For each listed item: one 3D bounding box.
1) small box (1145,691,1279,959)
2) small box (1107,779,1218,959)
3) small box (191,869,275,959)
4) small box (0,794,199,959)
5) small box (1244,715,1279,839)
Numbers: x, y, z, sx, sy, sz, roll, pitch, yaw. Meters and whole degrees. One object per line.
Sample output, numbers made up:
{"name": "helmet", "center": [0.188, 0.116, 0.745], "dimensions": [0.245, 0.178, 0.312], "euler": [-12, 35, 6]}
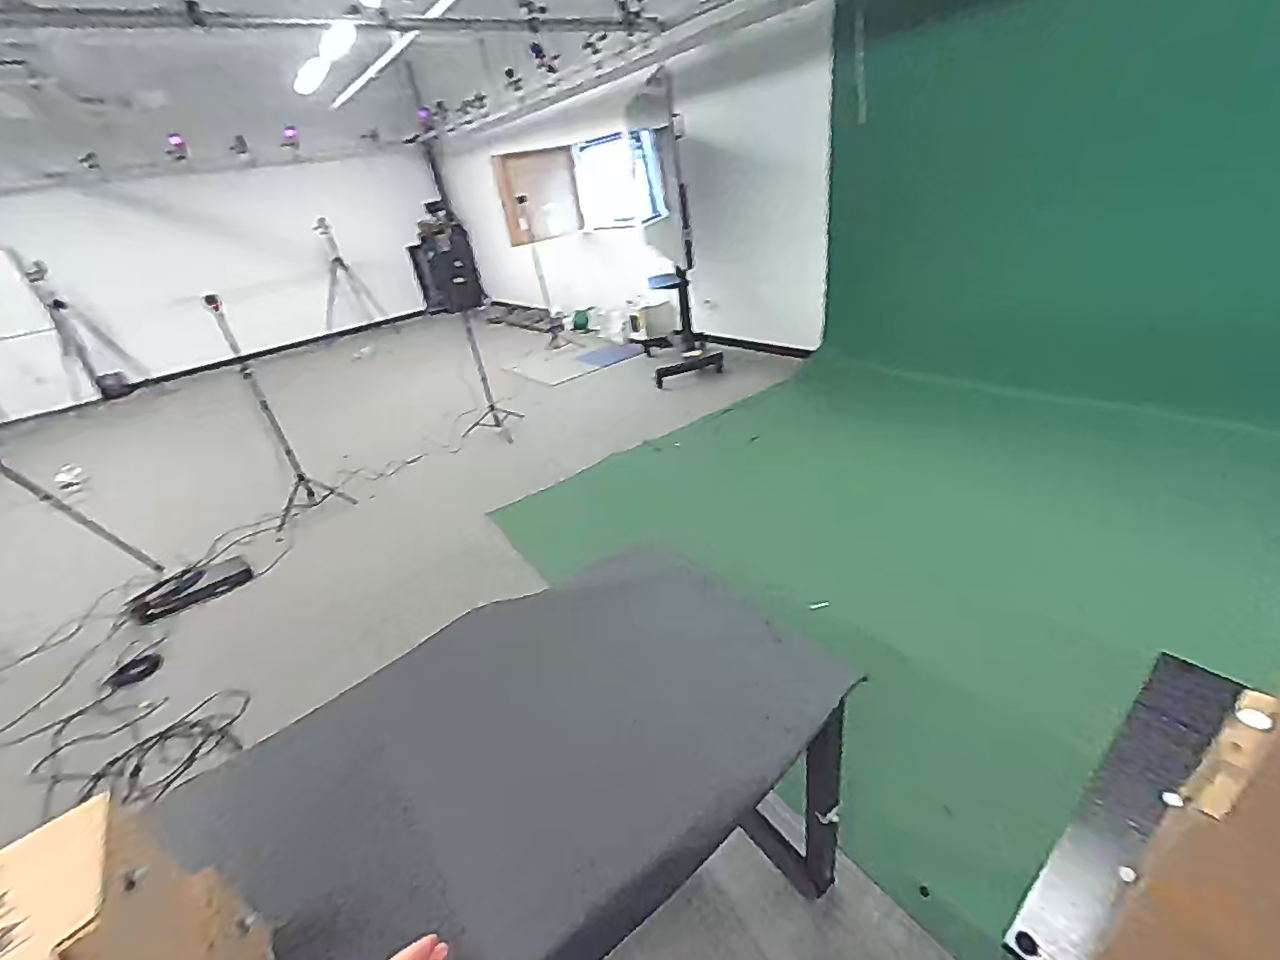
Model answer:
{"name": "small box", "center": [0.562, 0.319, 0.431], "dimensions": [0.168, 0.176, 0.179], "euler": [-28, 34, -28]}
{"name": "small box", "center": [0.595, 0.450, 0.522], "dimensions": [0.179, 0.176, 0.168], "euler": [-27, 34, -28]}
{"name": "small box", "center": [-0.528, 0.601, 0.600], "dimensions": [0.179, 0.176, 0.168], "euler": [-28, 31, -28]}
{"name": "small box", "center": [-0.561, 0.462, 0.517], "dimensions": [0.168, 0.176, 0.179], "euler": [-29, 32, -32]}
{"name": "small box", "center": [0.543, 0.181, 0.343], "dimensions": [0.179, 0.176, 0.168], "euler": [-27, 33, -27]}
